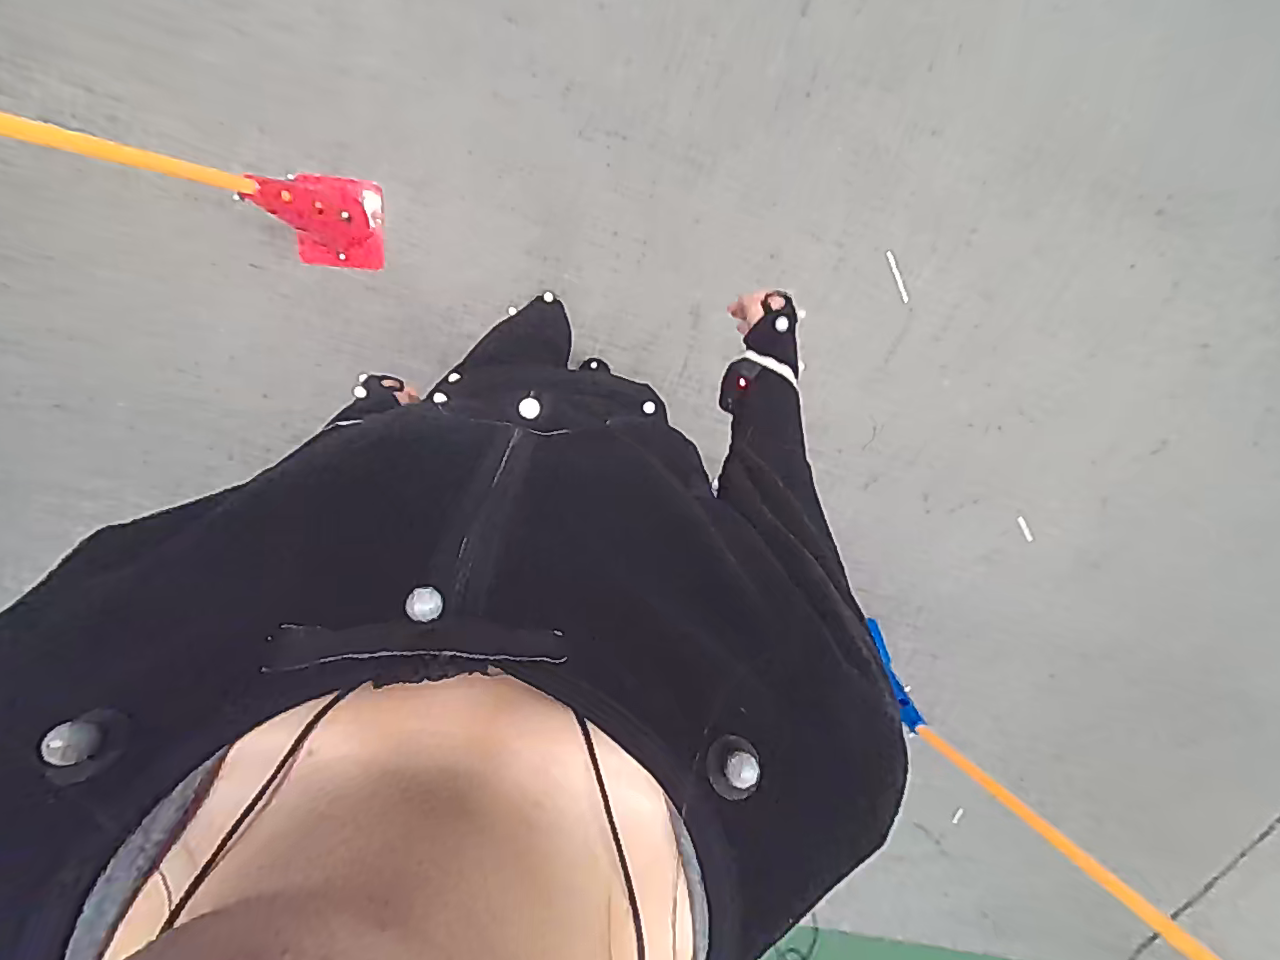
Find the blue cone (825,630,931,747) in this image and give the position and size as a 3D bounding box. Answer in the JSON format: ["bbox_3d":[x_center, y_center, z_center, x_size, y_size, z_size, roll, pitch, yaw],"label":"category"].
[{"bbox_3d":[0.706,0.615,1.554,0.193,0.380,0.192,-27,105,1],"label":"blue cone"}]
